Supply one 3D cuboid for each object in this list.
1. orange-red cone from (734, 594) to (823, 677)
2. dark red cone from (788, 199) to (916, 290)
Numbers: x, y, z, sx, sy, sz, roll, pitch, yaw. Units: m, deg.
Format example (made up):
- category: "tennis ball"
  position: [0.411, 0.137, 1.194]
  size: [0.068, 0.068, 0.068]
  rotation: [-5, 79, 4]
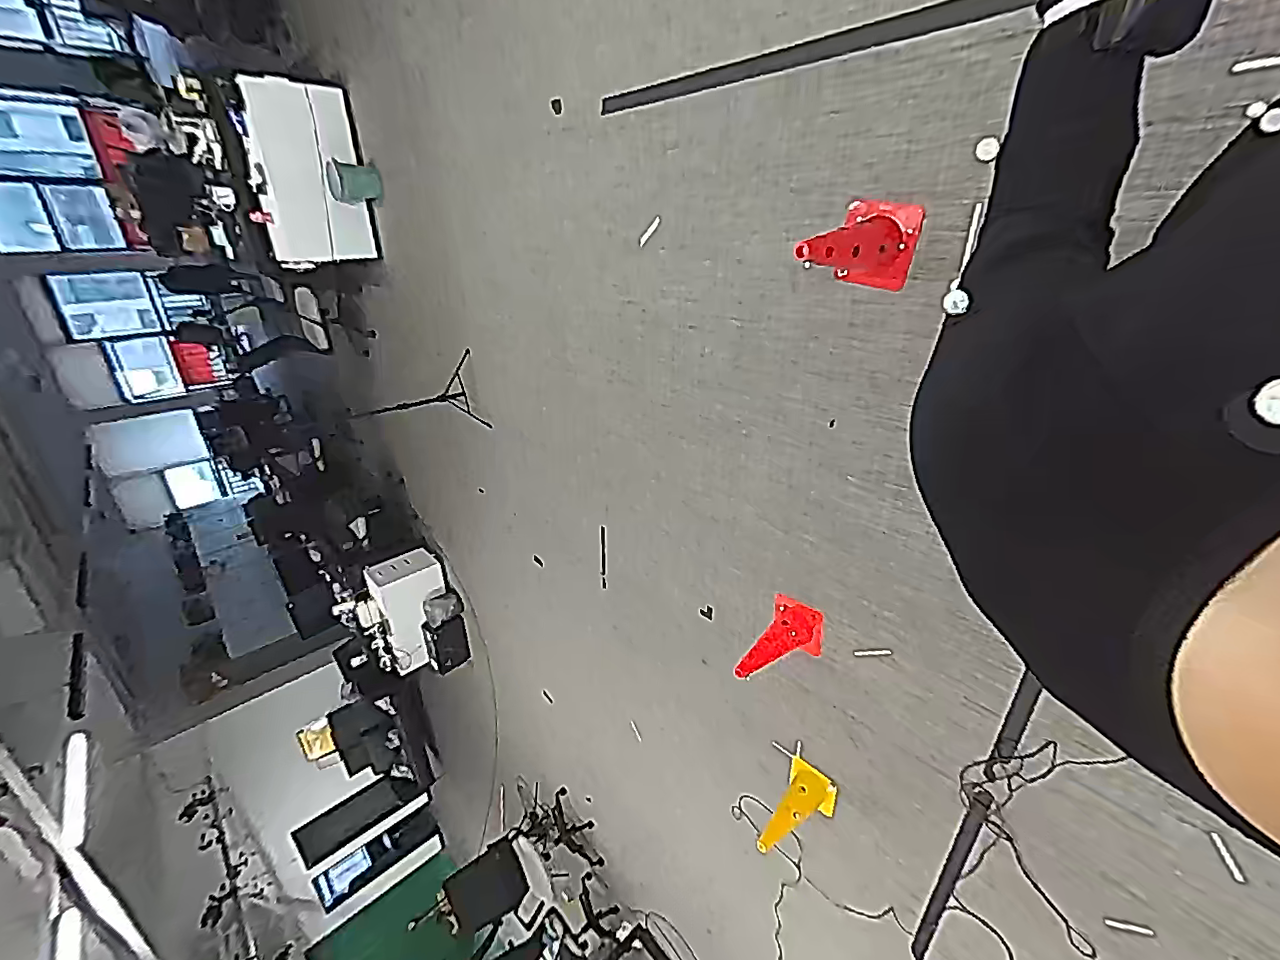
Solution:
- category: "orange-red cone"
  position: [0.459, 0.589, 1.904]
  size: [0.198, 0.360, 0.199]
  rotation: [22, 125, 44]
- category: "dark red cone"
  position: [0.473, -0.555, 1.285]
  size: [0.201, 0.394, 0.202]
  rotation: [30, 129, 38]
